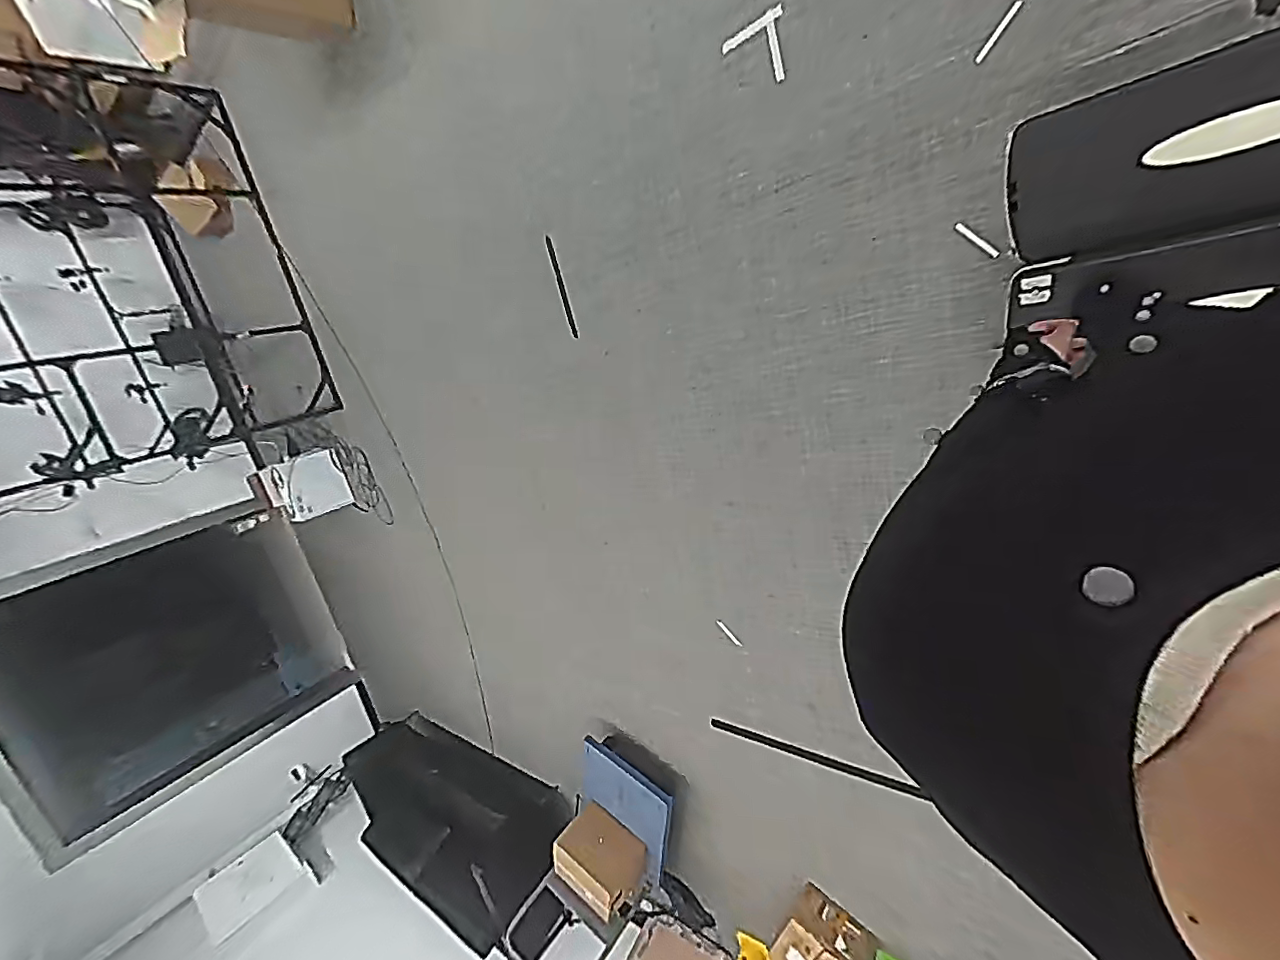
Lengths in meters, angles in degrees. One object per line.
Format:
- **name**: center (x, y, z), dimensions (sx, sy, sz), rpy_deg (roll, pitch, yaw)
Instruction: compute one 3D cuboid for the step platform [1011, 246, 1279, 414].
- **step platform**: center (1.090, -0.272, 0.984), dimensions (0.684, 0.204, 0.286), rpy_deg (6, 112, 41)
